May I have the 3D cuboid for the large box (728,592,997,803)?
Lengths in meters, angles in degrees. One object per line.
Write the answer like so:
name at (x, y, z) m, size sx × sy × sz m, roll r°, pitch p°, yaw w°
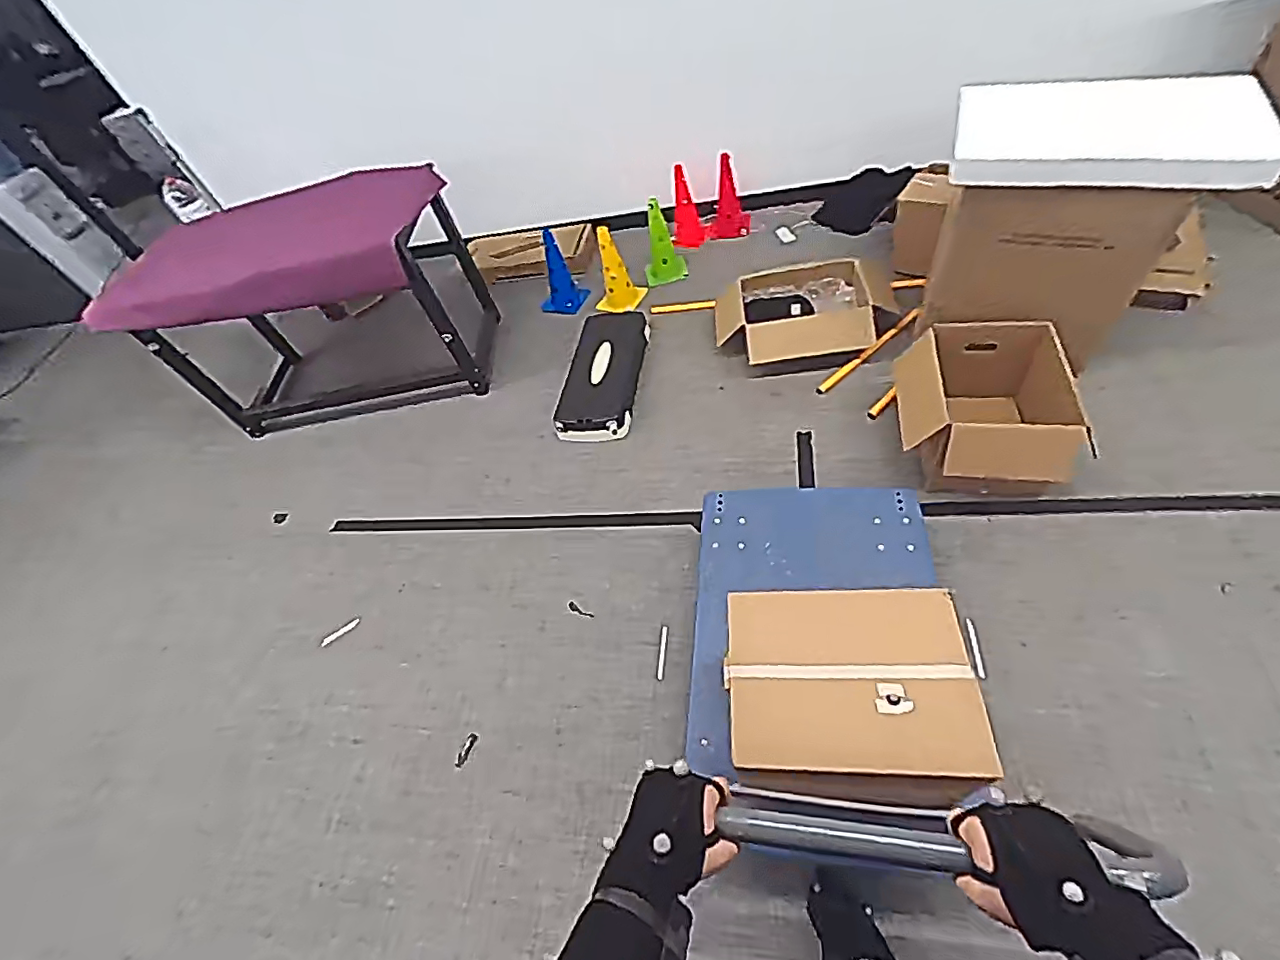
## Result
large box at (0.389, 0.434, 1.067) m, size 0.408 × 0.320 × 0.320 m, roll -3°, pitch 53°, yaw 11°
